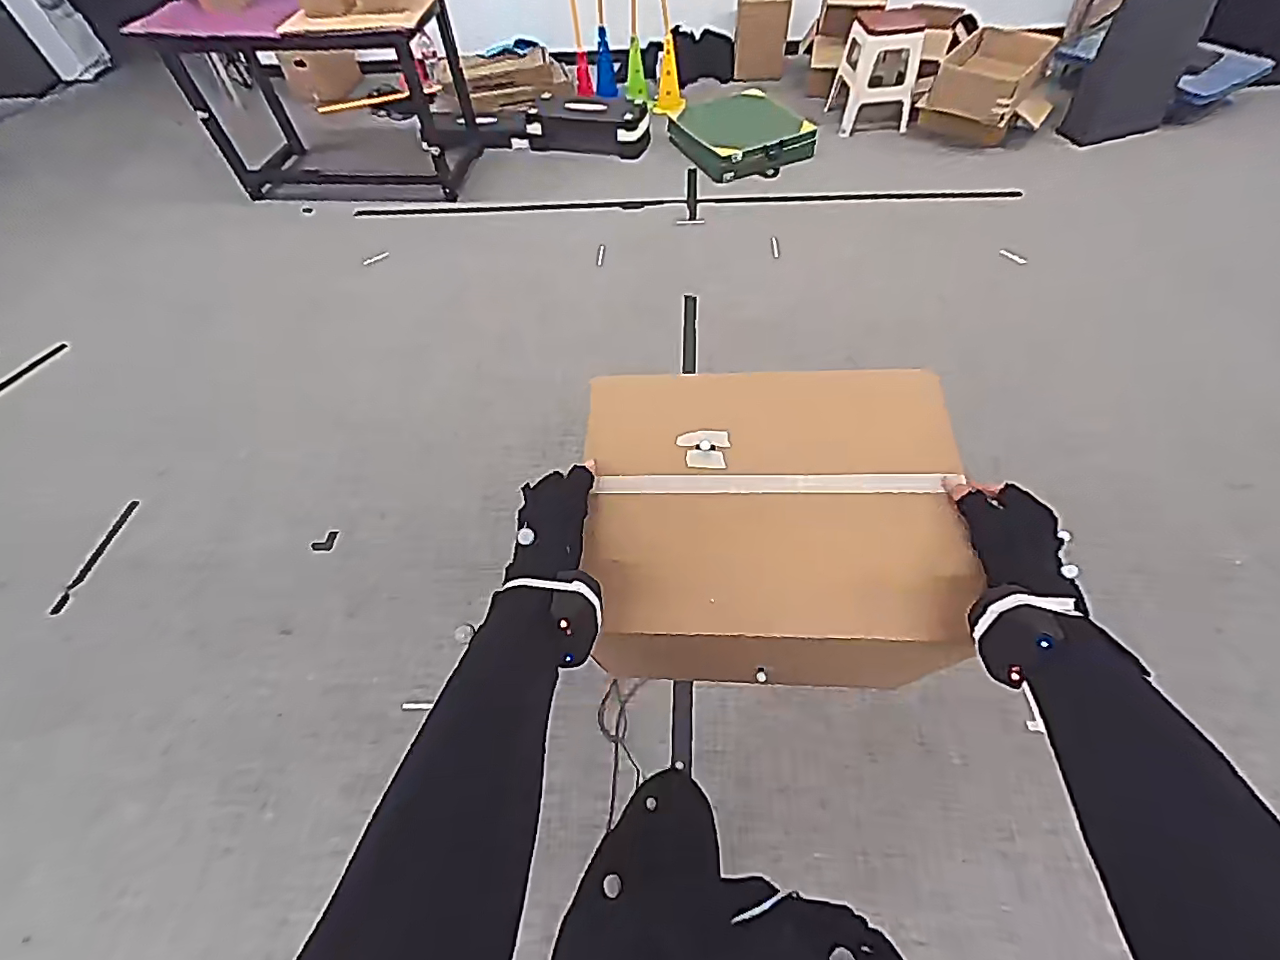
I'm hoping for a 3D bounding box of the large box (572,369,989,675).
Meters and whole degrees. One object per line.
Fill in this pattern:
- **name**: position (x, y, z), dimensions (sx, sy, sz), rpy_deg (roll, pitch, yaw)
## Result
- **large box**: position (0.153, 0.077, 0.721), dimensions (0.408, 0.320, 0.320), rpy_deg (0, 61, 7)
